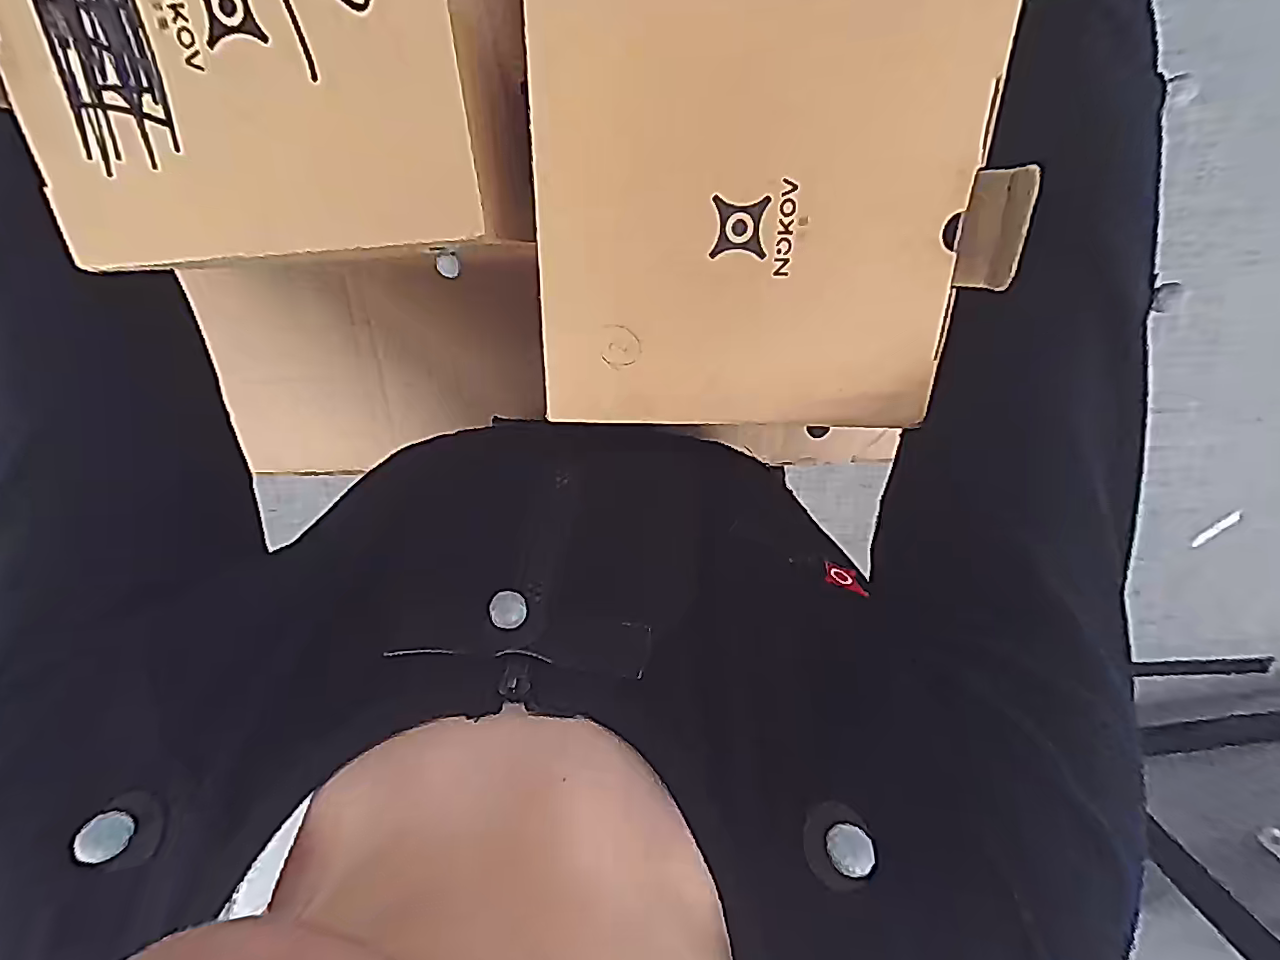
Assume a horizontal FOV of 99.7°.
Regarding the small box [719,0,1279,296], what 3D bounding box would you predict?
[{"bbox_3d":[0.147,-0.198,0.248,0.179,0.176,0.168,13,120,-5],"label":"small box"}]
